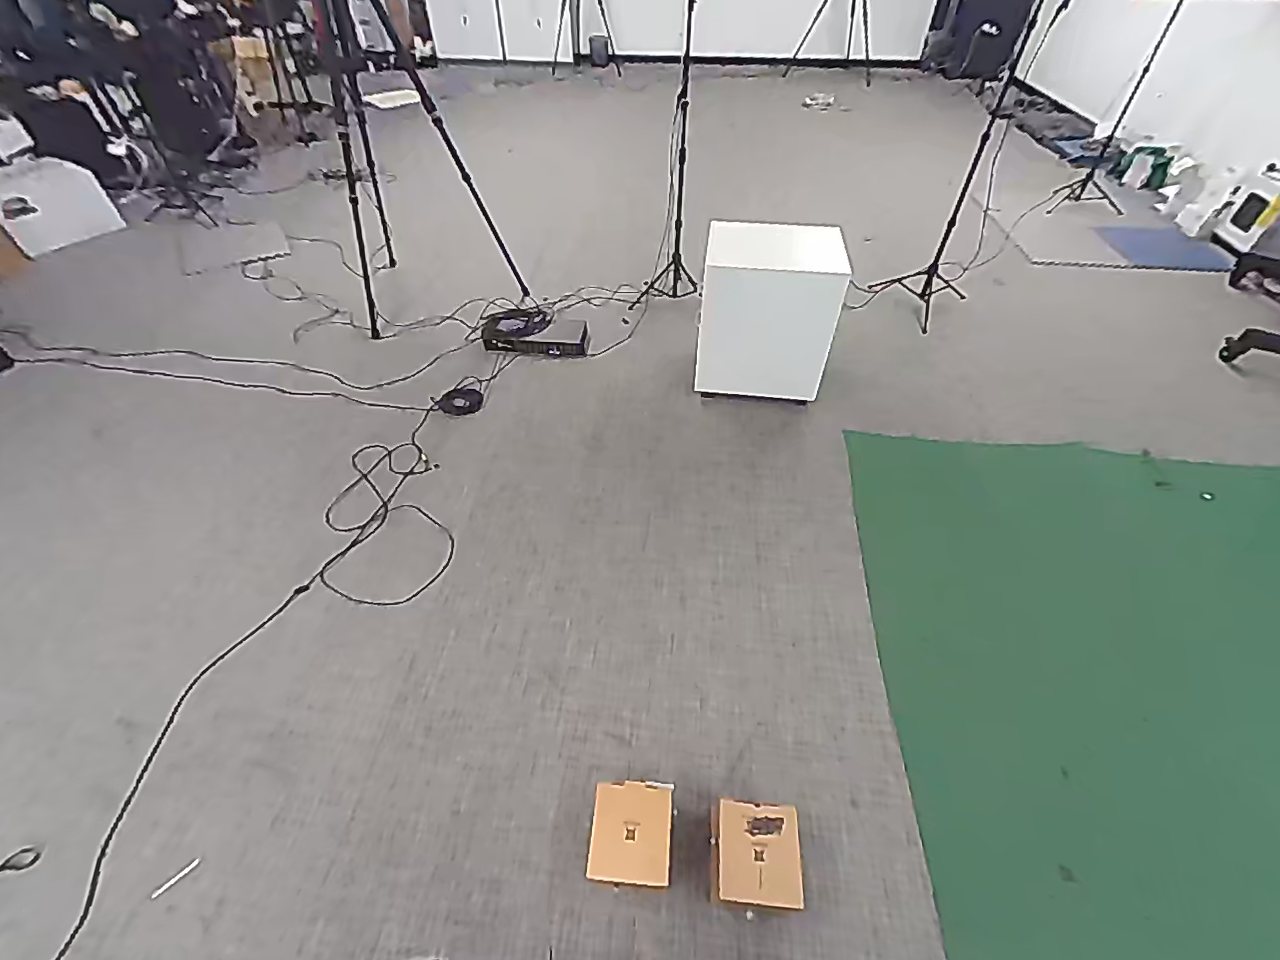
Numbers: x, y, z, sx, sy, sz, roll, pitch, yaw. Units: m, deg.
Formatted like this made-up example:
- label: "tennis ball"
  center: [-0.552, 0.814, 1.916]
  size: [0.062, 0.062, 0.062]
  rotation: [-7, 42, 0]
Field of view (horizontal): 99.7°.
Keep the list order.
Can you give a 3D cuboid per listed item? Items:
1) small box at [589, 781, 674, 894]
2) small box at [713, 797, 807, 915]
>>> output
- label: "small box"
  center: [-0.014, 0.782, 1.180]
  size: [0.168, 0.176, 0.179]
  rotation: [4, 47, 3]
- label: "small box"
  center: [0.247, 0.806, 1.158]
  size: [0.168, 0.176, 0.179]
  rotation: [5, 48, 3]
